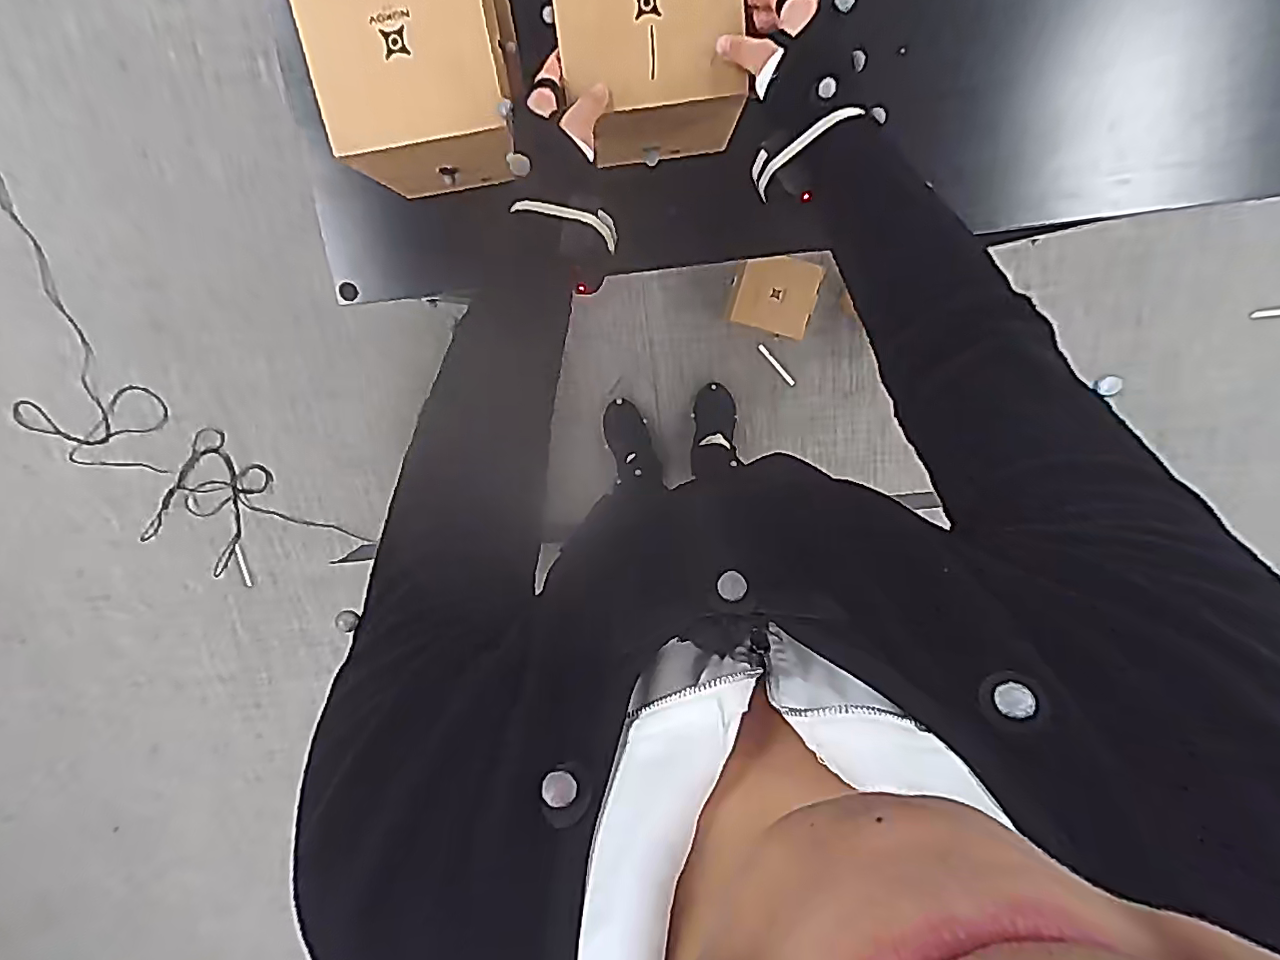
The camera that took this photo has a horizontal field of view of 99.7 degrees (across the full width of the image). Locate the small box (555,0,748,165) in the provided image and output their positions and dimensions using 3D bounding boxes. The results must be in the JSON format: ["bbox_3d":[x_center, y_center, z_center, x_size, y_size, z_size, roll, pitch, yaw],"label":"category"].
[{"bbox_3d":[0.007,-0.441,0.538,0.168,0.176,0.179,-6,106,3],"label":"small box"}]

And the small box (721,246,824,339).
[{"bbox_3d":[0.308,-0.444,1.294,0.179,0.176,0.168,14,105,-2],"label":"small box"}]
